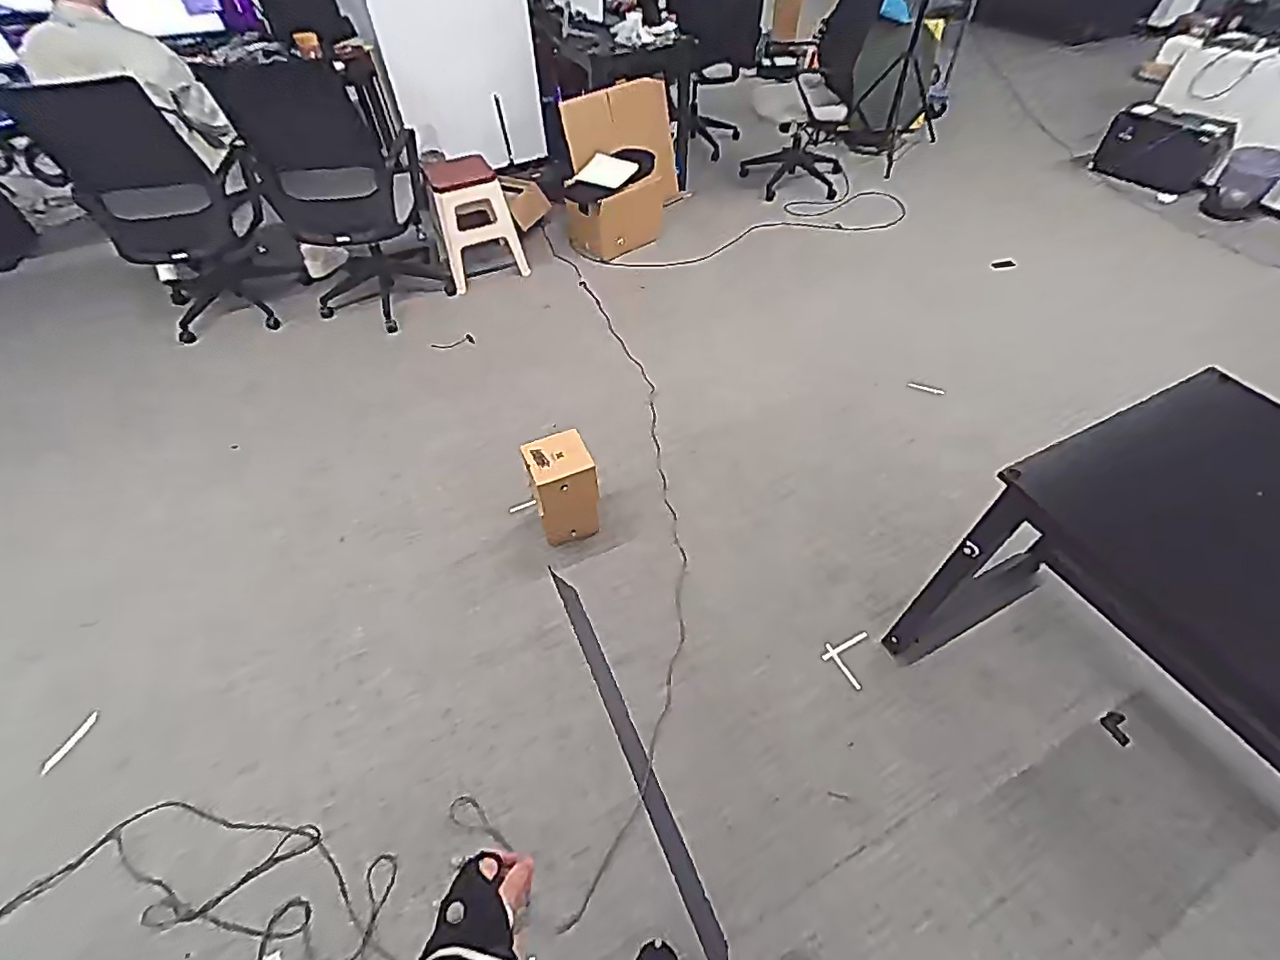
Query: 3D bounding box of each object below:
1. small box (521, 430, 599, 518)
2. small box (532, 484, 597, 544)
[{"bbox_3d":[-0.233,-0.014,1.610,0.179,0.176,0.168,-20,54,-14],"label":"small box"},{"bbox_3d":[-0.240,0.080,1.747,0.179,0.176,0.168,-16,52,-11],"label":"small box"}]
